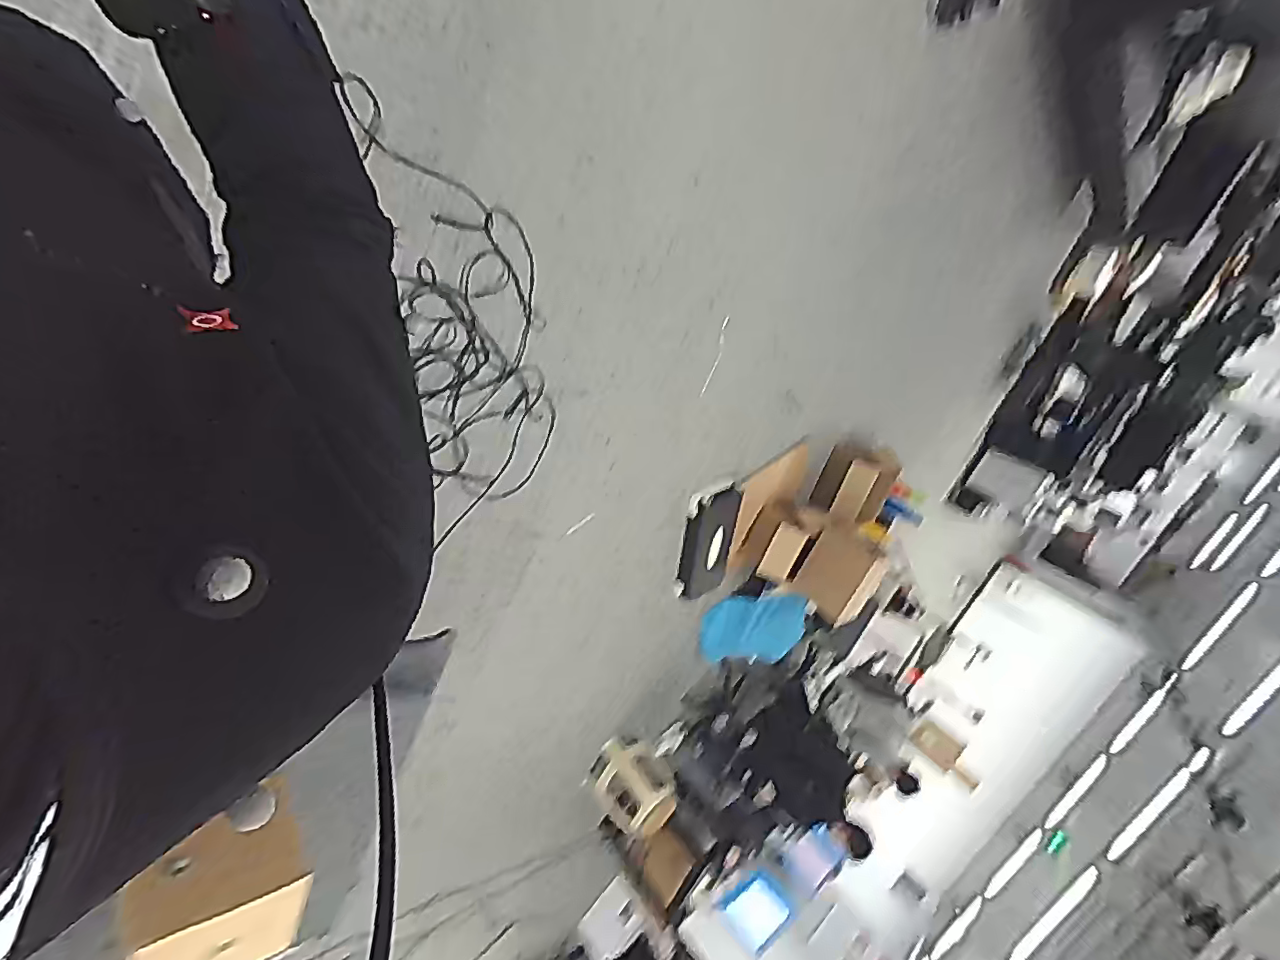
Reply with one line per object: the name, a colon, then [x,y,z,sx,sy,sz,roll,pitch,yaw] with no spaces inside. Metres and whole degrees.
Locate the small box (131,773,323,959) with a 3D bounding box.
small box: [-0.563,0.545,0.733,0.179,0.176,0.168,2,119,-47]
